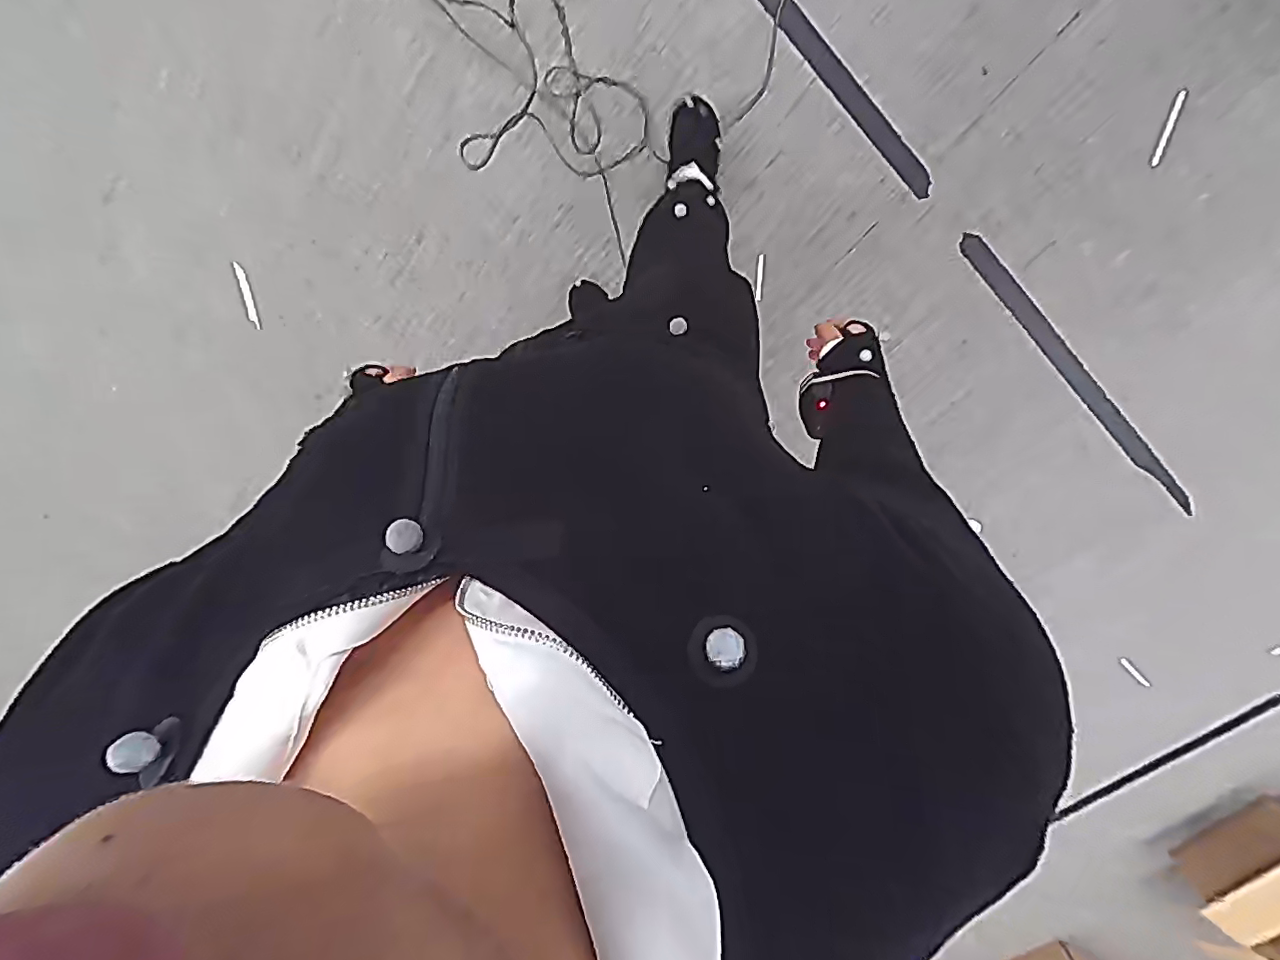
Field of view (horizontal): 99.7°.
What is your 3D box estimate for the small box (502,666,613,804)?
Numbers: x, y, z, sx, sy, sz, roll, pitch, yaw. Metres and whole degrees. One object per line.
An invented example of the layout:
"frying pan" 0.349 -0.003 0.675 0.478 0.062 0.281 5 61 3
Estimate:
"small box" -0.168 0.546 1.174 0.168 0.176 0.179 36 105 -13
